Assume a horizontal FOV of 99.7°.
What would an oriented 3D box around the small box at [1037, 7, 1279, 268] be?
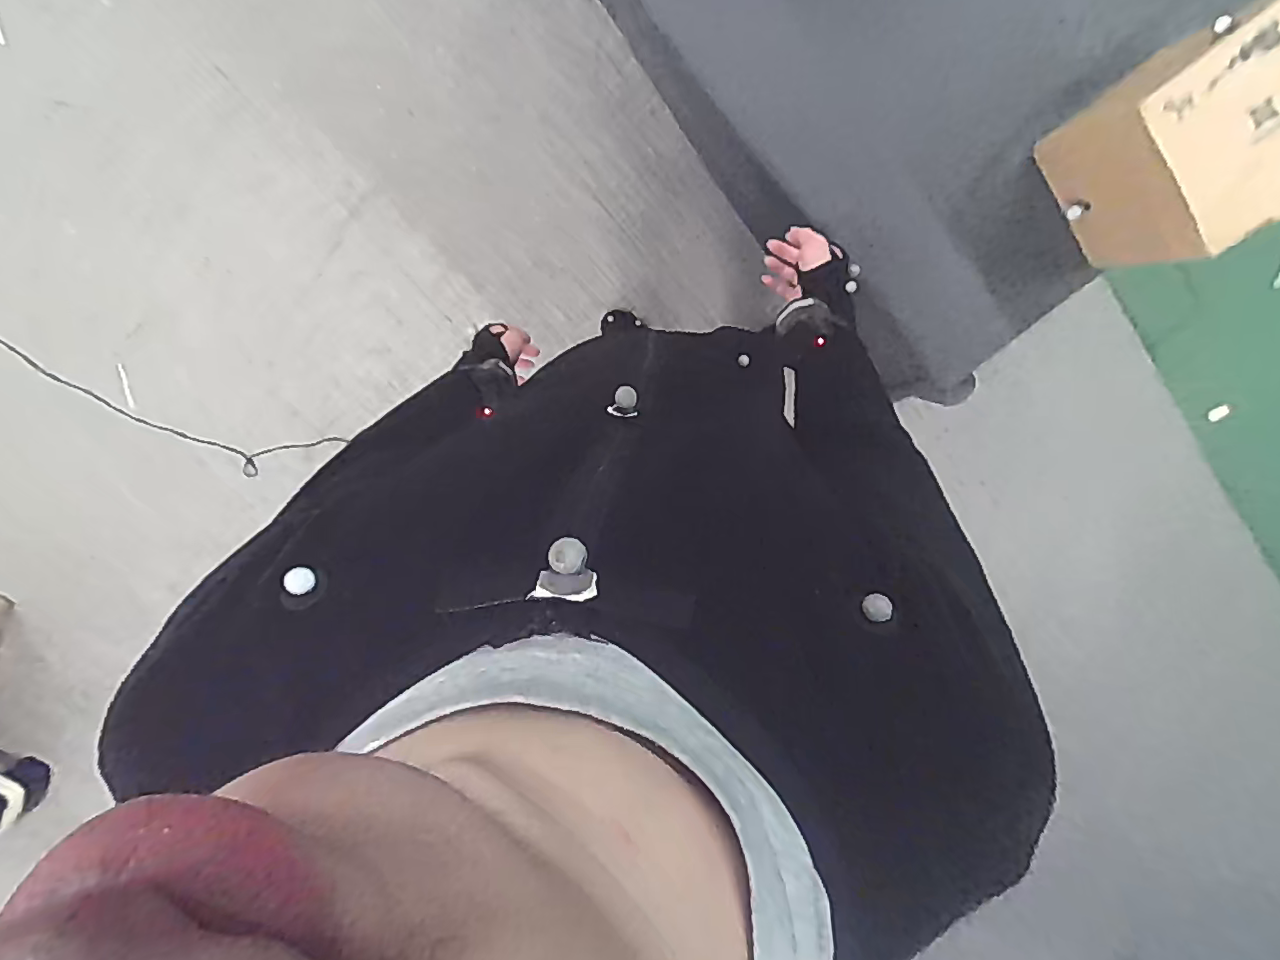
[{"bbox_3d":[0.592,-0.356,0.589,0.168,0.176,0.179,-36,104,14],"label":"small box"}]
